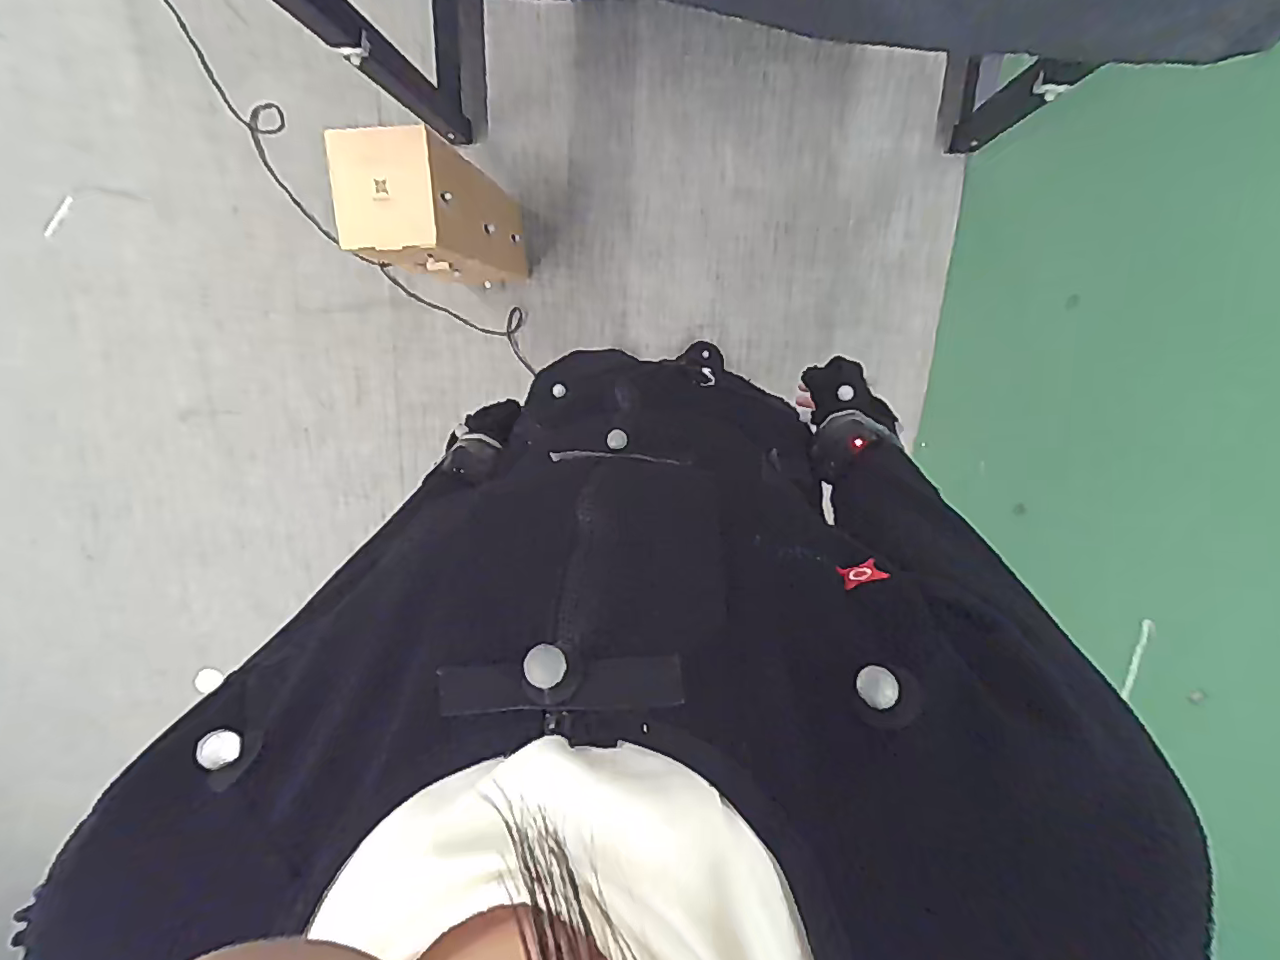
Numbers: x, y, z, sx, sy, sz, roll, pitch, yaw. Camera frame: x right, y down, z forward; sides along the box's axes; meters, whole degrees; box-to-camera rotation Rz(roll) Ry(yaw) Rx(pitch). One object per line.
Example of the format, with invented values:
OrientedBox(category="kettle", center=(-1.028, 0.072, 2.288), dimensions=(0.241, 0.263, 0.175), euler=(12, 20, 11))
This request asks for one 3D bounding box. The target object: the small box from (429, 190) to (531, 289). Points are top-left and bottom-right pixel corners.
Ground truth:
OrientedBox(category="small box", center=(-0.360, -0.546, 1.247), dimensions=(0.168, 0.176, 0.179), euler=(-3, 104, 7))
